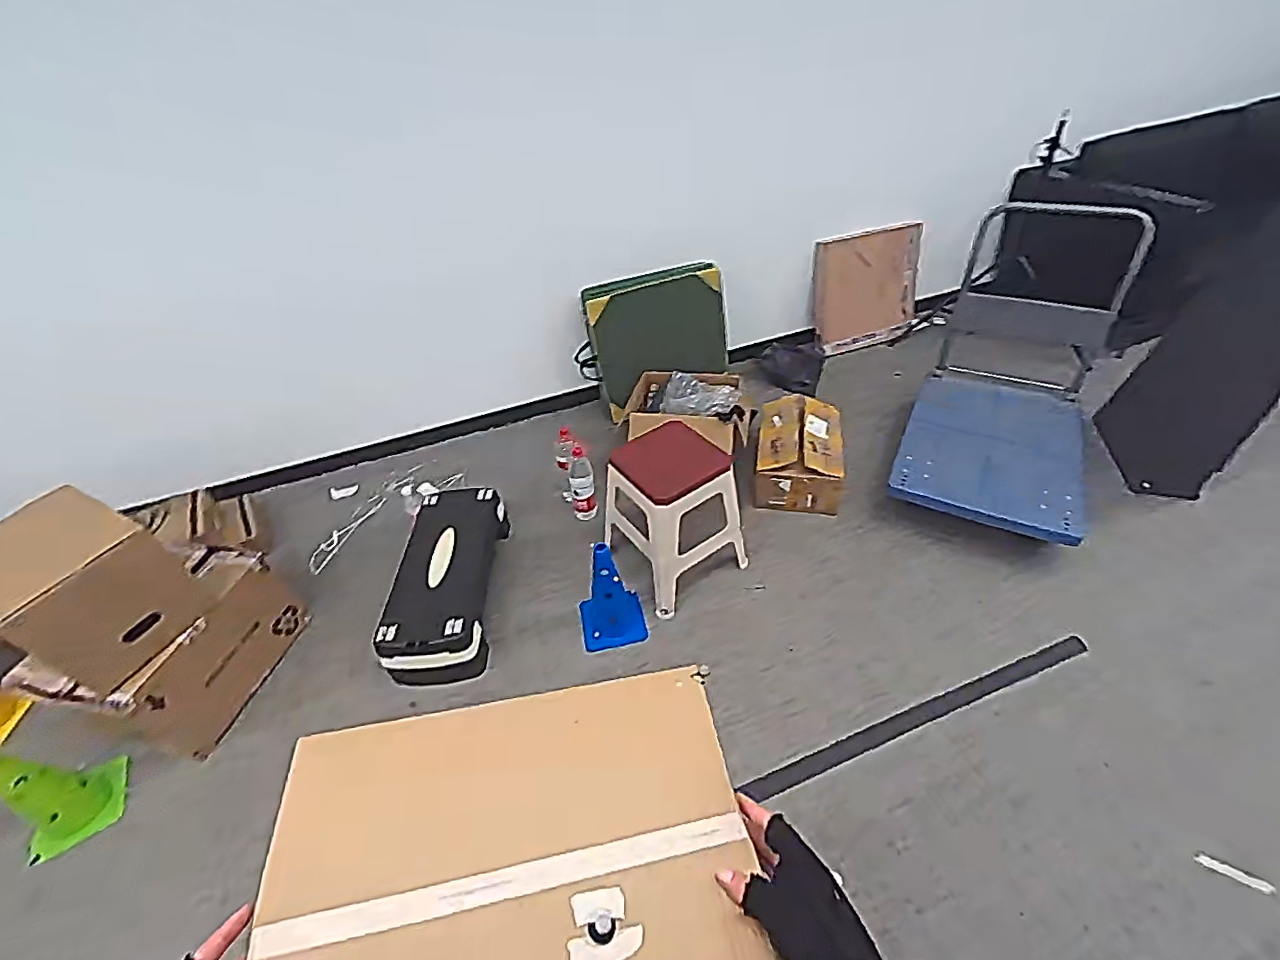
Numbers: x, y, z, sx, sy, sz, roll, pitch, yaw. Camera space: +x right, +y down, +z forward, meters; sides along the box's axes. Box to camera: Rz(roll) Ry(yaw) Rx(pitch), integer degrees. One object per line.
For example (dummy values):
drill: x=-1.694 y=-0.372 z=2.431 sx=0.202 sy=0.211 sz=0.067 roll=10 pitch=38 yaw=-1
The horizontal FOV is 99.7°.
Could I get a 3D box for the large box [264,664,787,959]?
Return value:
large box: x=-0.106 y=0.438 z=0.564 sx=0.408 sy=0.320 sz=0.320 roll=-6 pitch=46 yaw=-10
